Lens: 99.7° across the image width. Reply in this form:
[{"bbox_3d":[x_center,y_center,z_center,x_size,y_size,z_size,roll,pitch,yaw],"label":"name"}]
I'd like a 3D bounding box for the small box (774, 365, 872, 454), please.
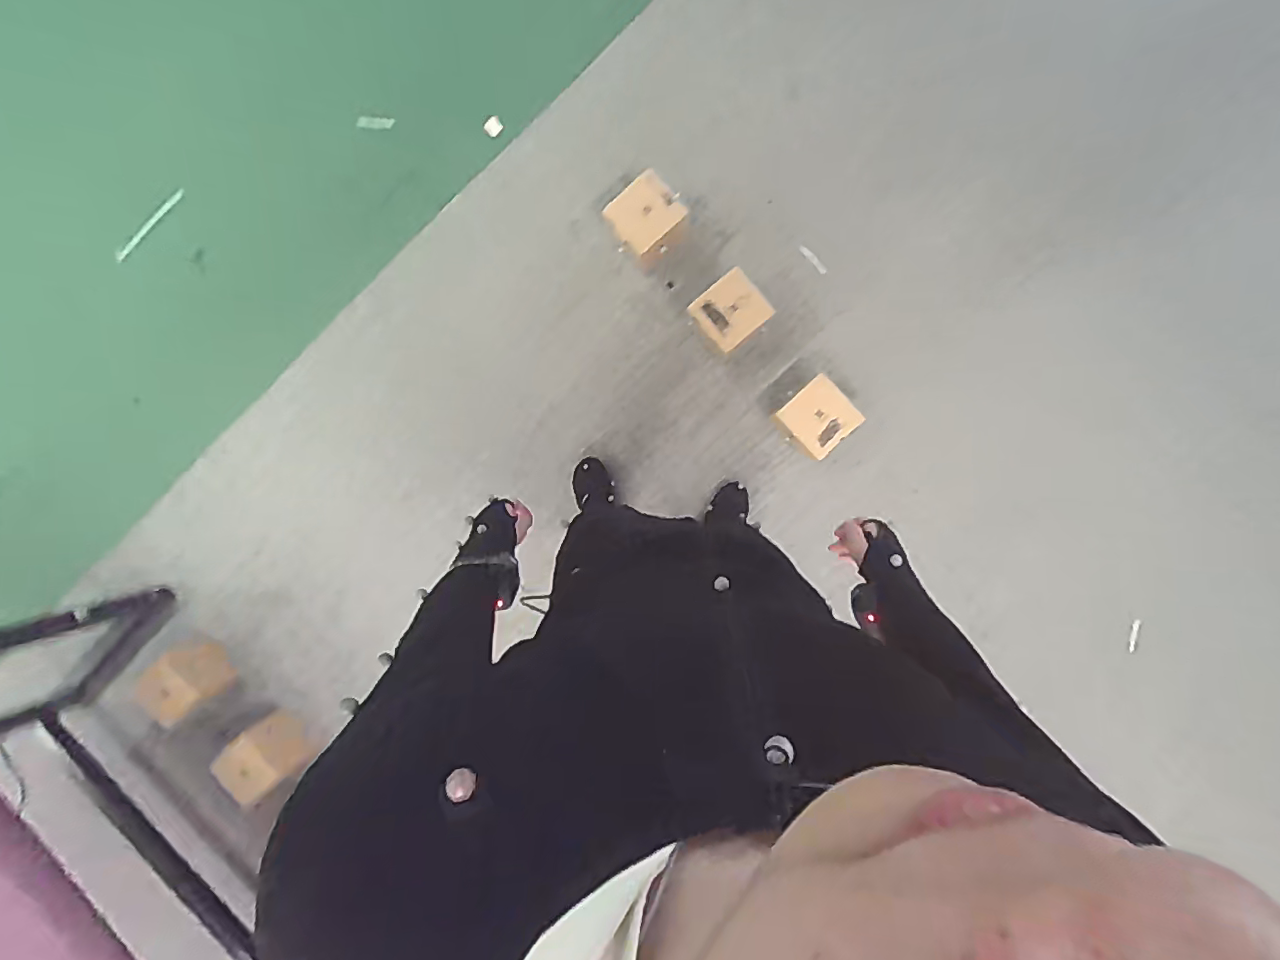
[{"bbox_3d":[0.494,-0.189,1.487,0.168,0.176,0.179,-42,88,6],"label":"small box"}]

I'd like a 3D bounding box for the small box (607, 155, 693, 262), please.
[{"bbox_3d":[0.036,-0.741,1.501,0.179,0.176,0.168,-39,89,7],"label":"small box"}]

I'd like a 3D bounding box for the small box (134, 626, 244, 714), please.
[{"bbox_3d":[-1.429,0.598,1.726,0.179,0.176,0.168,45,96,1],"label":"small box"}]

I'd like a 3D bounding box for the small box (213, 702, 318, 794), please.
[{"bbox_3d":[-1.183,0.837,1.718,0.168,0.176,0.179,-42,89,7],"label":"small box"}]
